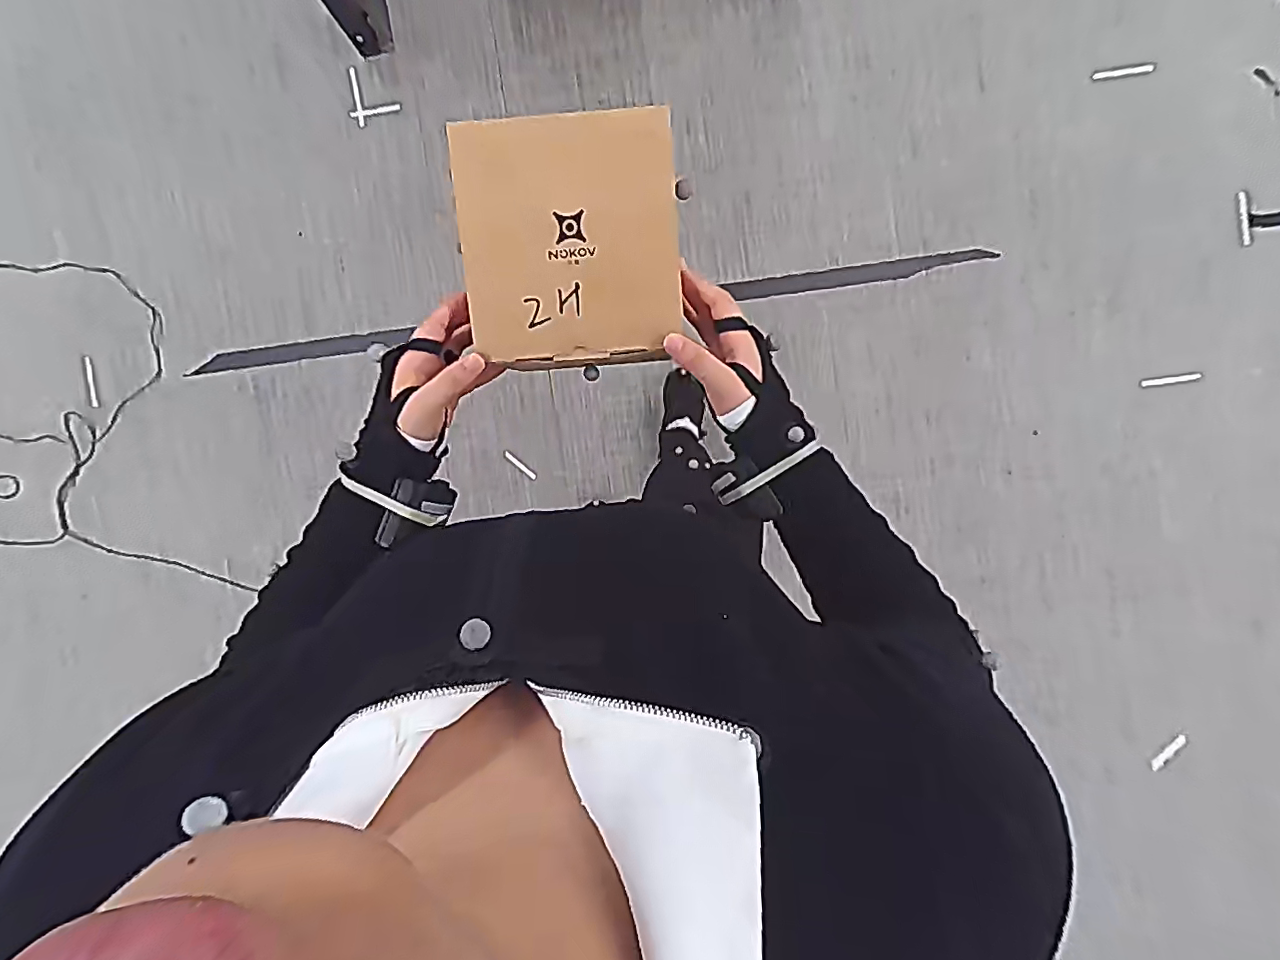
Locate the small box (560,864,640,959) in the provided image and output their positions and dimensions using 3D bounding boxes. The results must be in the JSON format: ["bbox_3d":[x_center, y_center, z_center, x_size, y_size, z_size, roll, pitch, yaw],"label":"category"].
[{"bbox_3d":[-0.096,1.107,1.362,0.168,0.176,0.179,-11,93,2],"label":"small box"}]

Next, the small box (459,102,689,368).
[{"bbox_3d":[-0.049,-0.200,0.488,0.168,0.176,0.179,-4,99,0],"label":"small box"}]

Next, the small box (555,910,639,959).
[{"bbox_3d":[-0.090,1.116,1.199,0.168,0.176,0.179,-13,93,1],"label":"small box"}]
